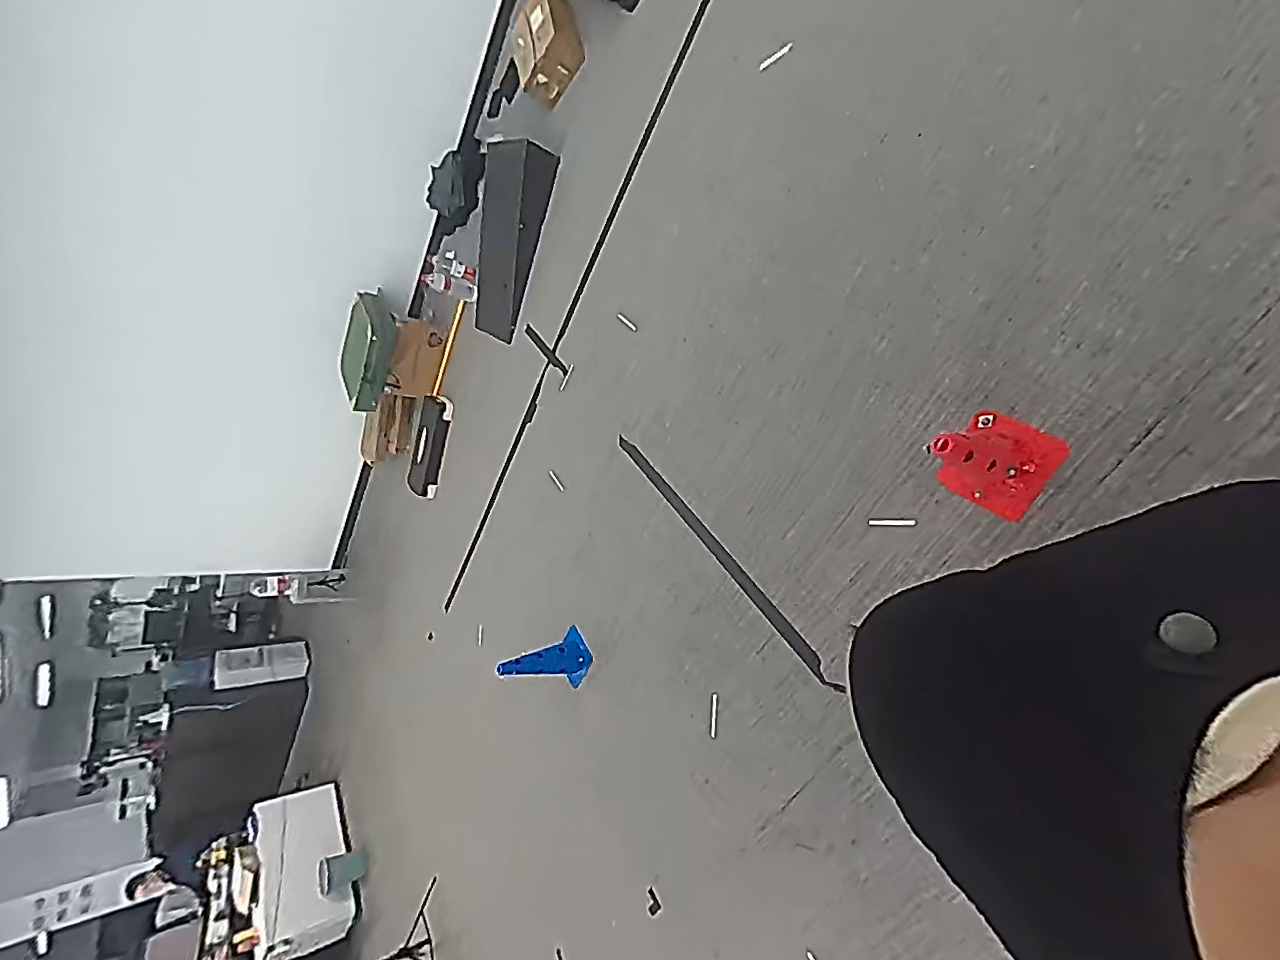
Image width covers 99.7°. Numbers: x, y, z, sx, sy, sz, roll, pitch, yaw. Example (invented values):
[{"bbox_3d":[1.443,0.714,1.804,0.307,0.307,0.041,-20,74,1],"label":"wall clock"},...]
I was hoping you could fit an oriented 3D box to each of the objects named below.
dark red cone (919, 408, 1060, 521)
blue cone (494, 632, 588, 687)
[{"bbox_3d":[0.655,-0.046,1.085,0.202,0.394,0.201,41,117,42],"label":"dark red cone"},{"bbox_3d":[-0.416,0.763,2.225,0.193,0.380,0.192,51,123,38],"label":"blue cone"}]
